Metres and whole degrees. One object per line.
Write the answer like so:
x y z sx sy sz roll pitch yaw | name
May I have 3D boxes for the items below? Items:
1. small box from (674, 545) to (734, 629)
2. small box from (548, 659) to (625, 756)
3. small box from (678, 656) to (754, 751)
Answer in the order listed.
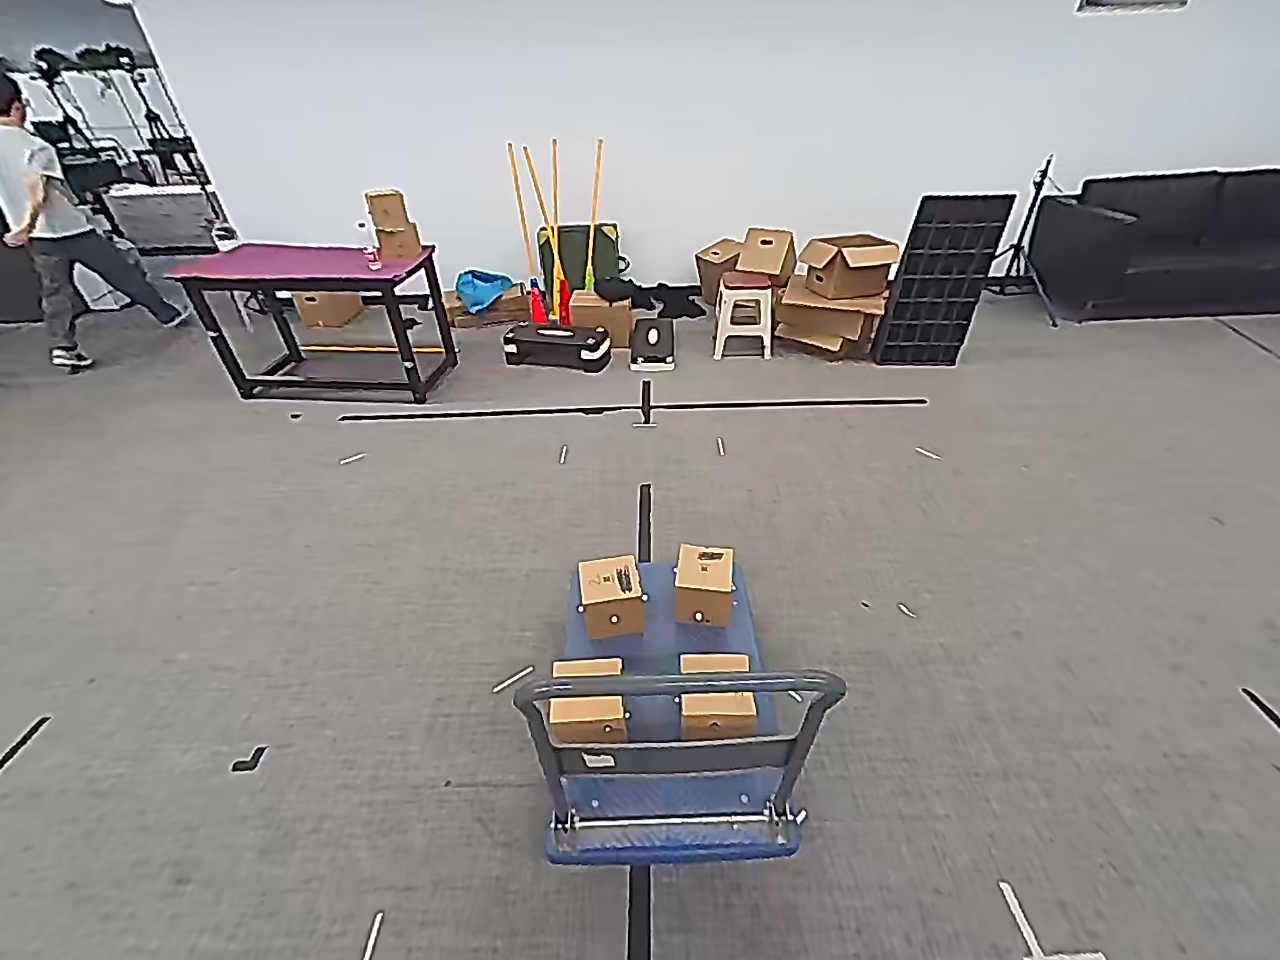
0.196 0.329 1.671 0.168 0.176 0.179 5 39 9 | small box
-0.130 0.575 1.365 0.179 0.176 0.168 -2 37 -3 | small box
0.186 0.565 1.365 0.179 0.176 0.168 0 38 2 | small box
